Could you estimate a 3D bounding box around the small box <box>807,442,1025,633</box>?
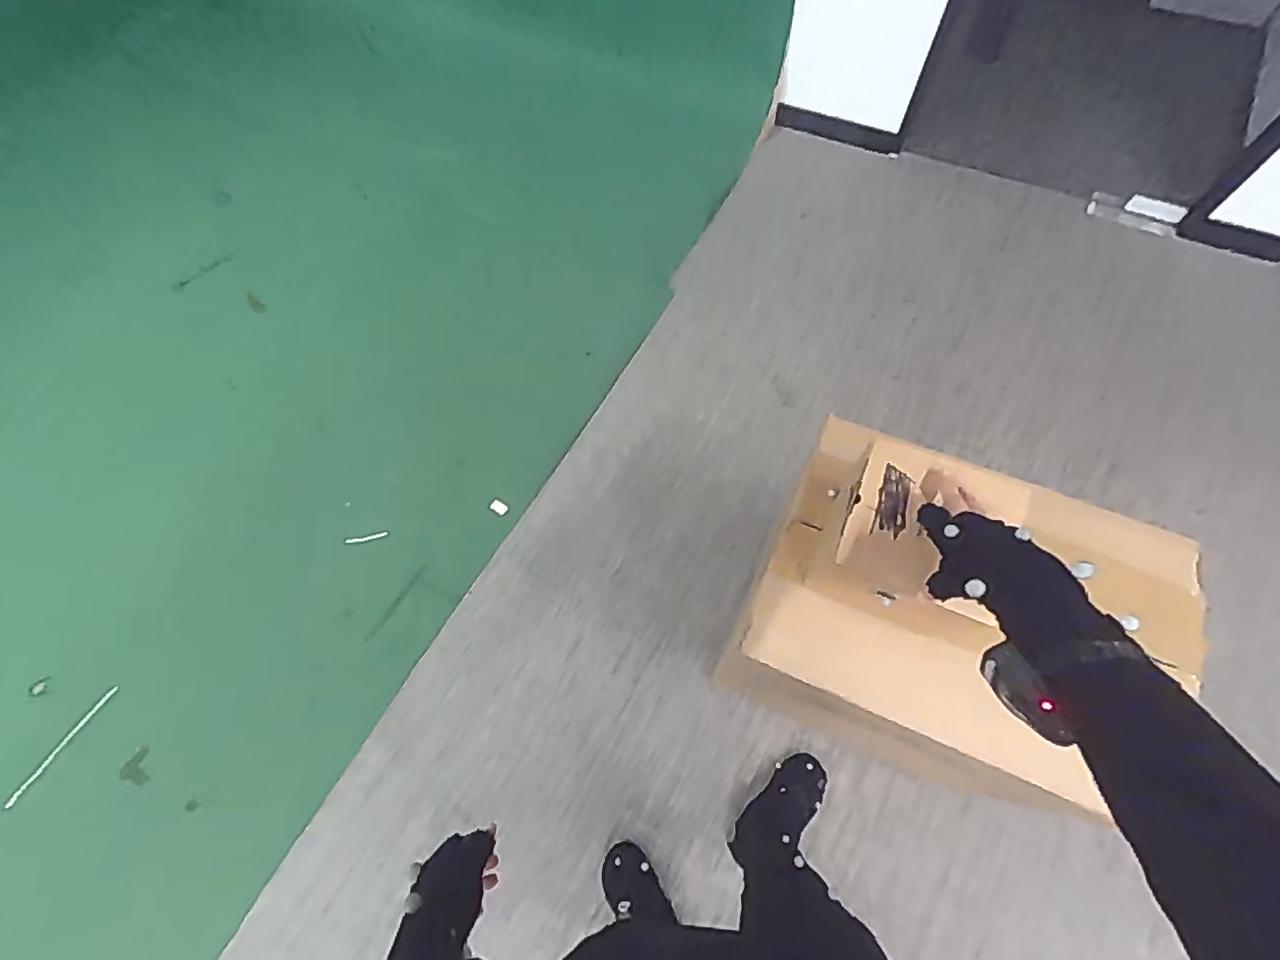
[{"bbox_3d":[0.328,0.081,0.676,0.179,0.176,0.168,22,74,12],"label":"small box"}]
